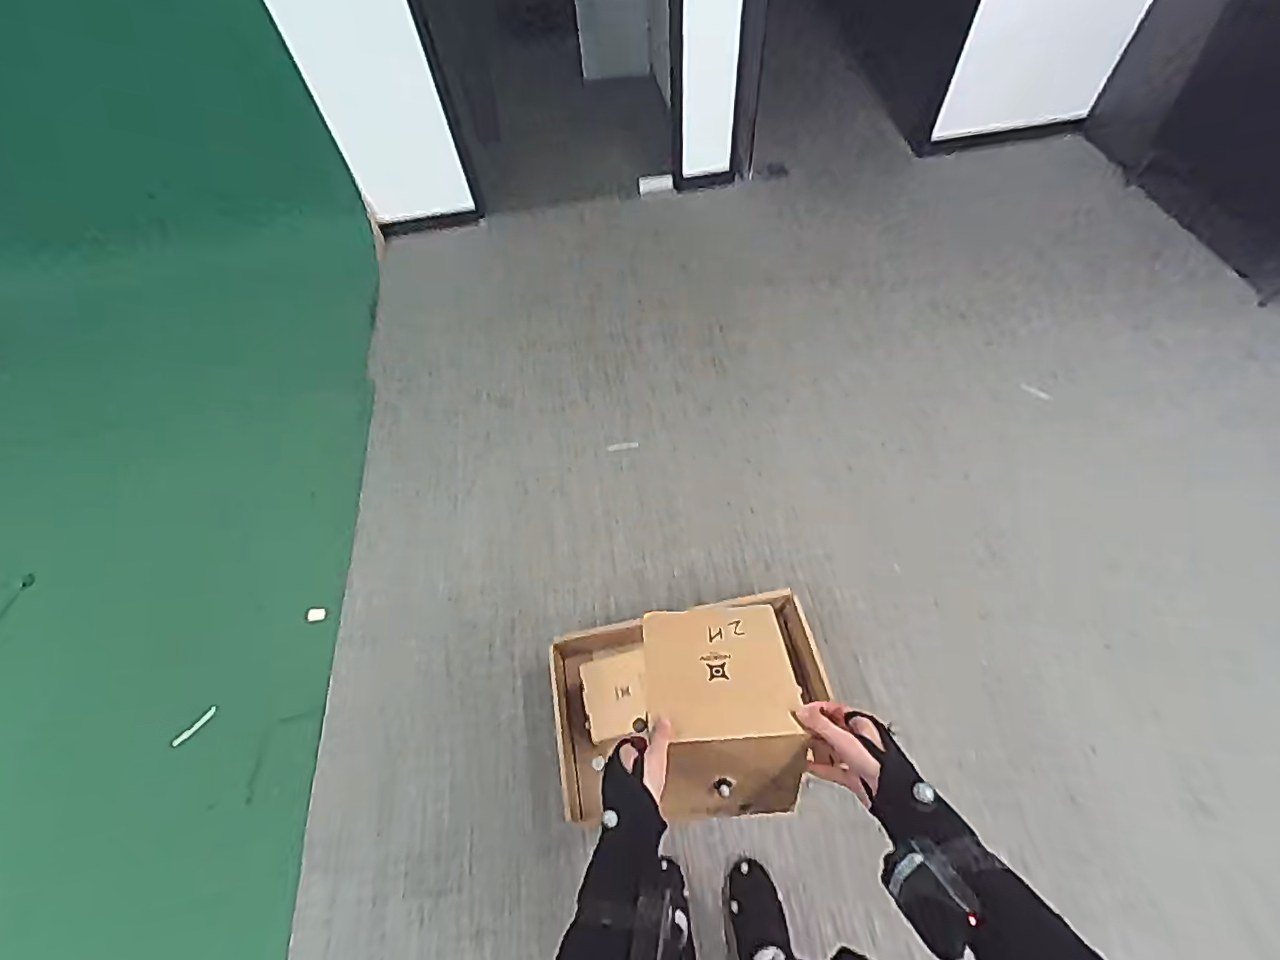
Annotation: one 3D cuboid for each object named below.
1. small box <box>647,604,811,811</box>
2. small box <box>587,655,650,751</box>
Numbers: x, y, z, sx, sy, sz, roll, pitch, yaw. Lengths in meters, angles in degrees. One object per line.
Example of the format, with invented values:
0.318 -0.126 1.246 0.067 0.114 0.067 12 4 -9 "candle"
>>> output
0.097 0.277 0.654 0.168 0.176 0.179 -4 35 1 "small box"
-0.015 0.525 1.270 0.179 0.176 0.168 -13 59 -5 "small box"
